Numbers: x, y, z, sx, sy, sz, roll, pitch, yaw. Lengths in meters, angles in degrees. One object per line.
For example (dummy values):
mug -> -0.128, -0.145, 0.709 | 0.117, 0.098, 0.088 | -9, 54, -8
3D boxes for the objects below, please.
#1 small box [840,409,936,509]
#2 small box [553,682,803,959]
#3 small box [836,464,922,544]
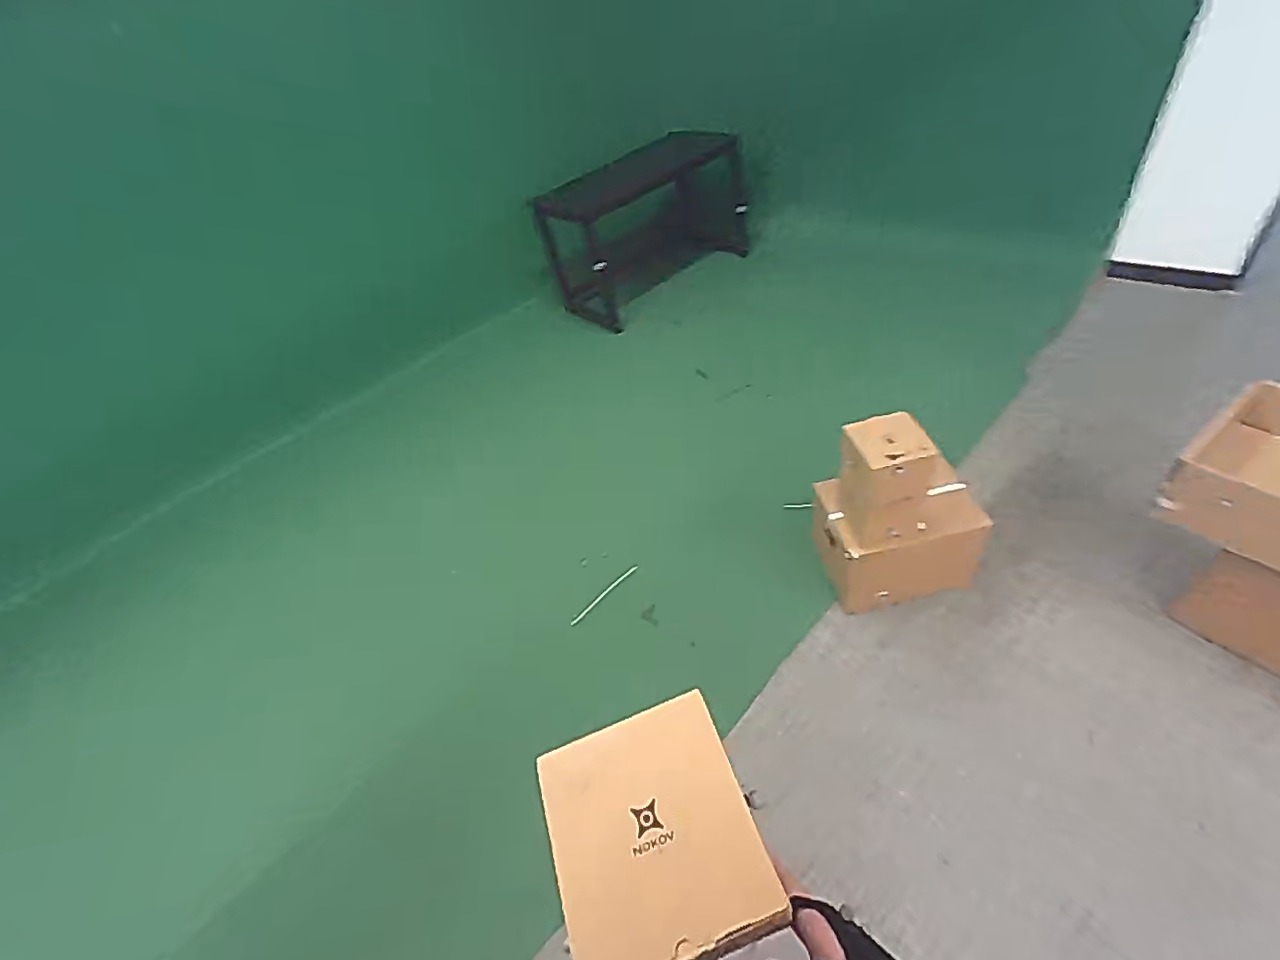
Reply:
small box -> 0.638, -0.053, 1.415 | 0.168, 0.176, 0.179 | -15, 44, 2
small box -> 0.034, 0.326, 0.508 | 0.168, 0.176, 0.179 | -21, 50, -4
small box -> 0.669, 0.052, 1.537 | 0.168, 0.176, 0.179 | -14, 45, 3
